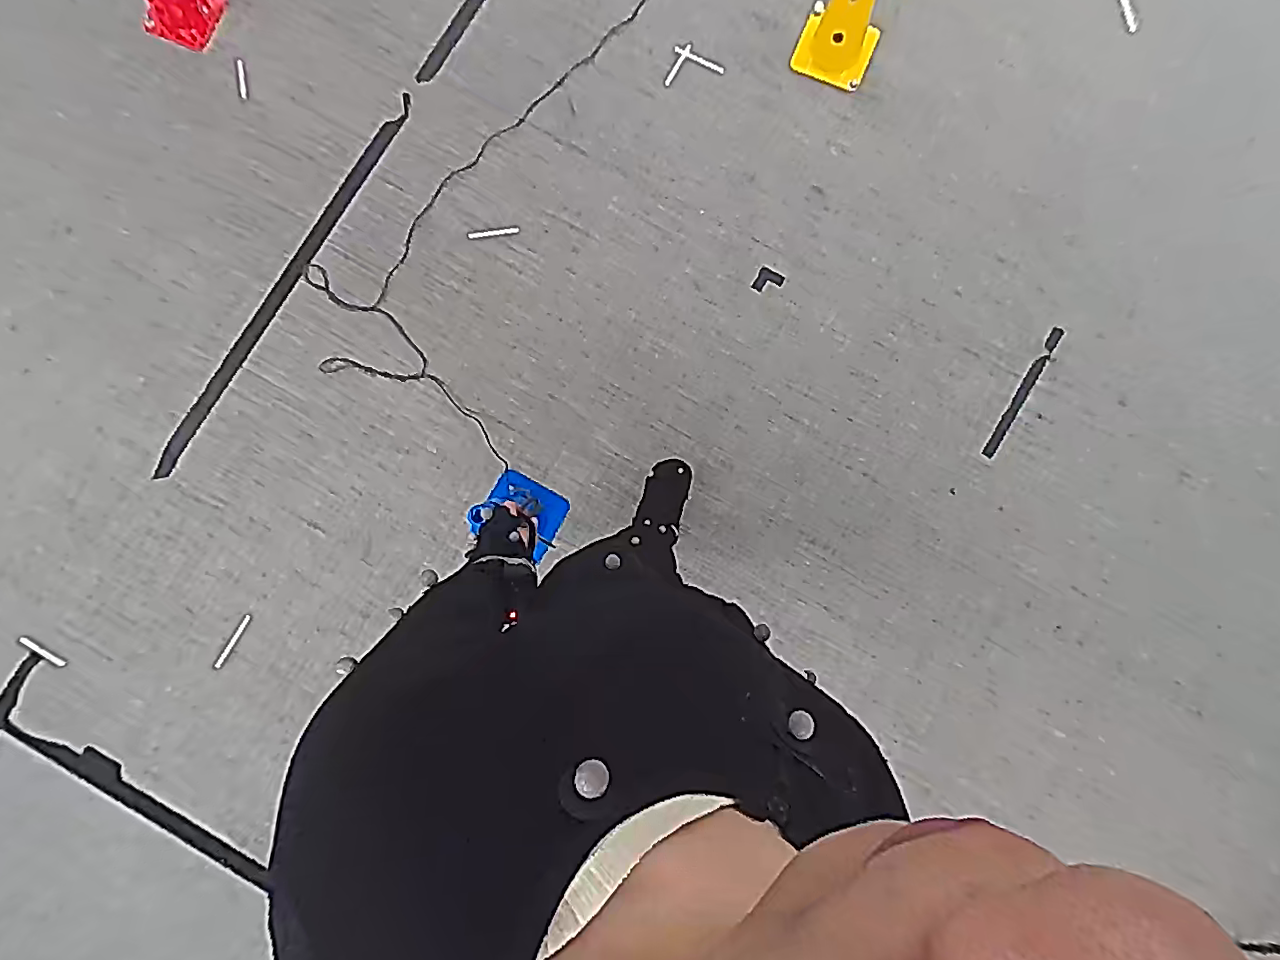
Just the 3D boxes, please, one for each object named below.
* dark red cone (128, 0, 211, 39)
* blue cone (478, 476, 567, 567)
[{"bbox_3d":[-1.300,-1.353,1.344,0.201,0.394,0.202,22,85,2],"label":"dark red cone"},{"bbox_3d":[-0.301,0.091,1.220,0.192,0.380,0.193,31,86,3],"label":"blue cone"}]
